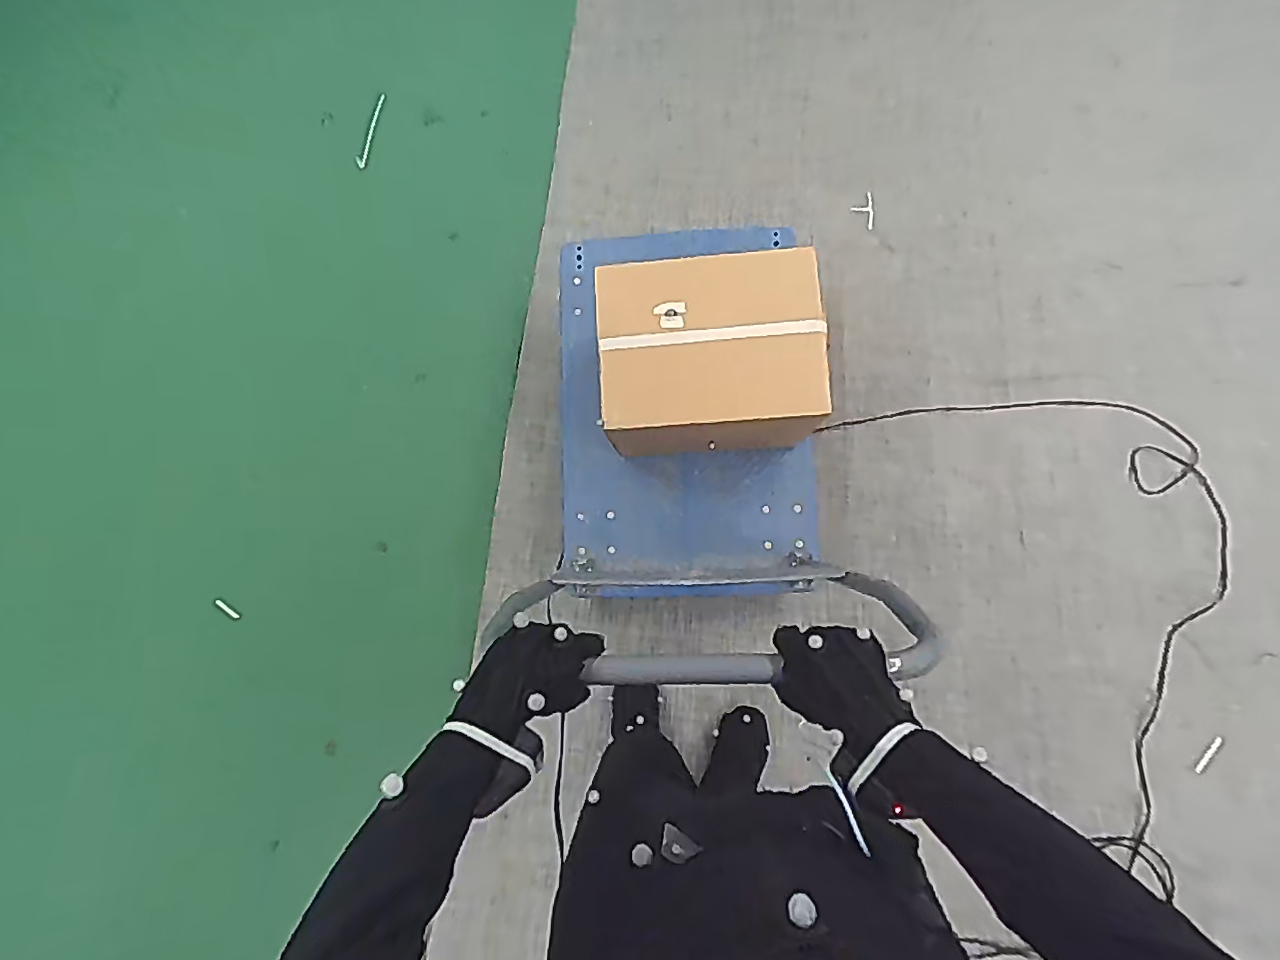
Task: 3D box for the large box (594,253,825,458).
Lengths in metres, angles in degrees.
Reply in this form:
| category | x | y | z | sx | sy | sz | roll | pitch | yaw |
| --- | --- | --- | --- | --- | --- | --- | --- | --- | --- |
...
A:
| category | x | y | z | sx | sy | sz | roll | pitch | yaw |
| --- | --- | --- | --- | --- | --- | --- | --- | --- | --- |
| large box | 0.137 | -0.231 | 1.134 | 0.408 | 0.320 | 0.320 | -4 | 82 | 6 |
